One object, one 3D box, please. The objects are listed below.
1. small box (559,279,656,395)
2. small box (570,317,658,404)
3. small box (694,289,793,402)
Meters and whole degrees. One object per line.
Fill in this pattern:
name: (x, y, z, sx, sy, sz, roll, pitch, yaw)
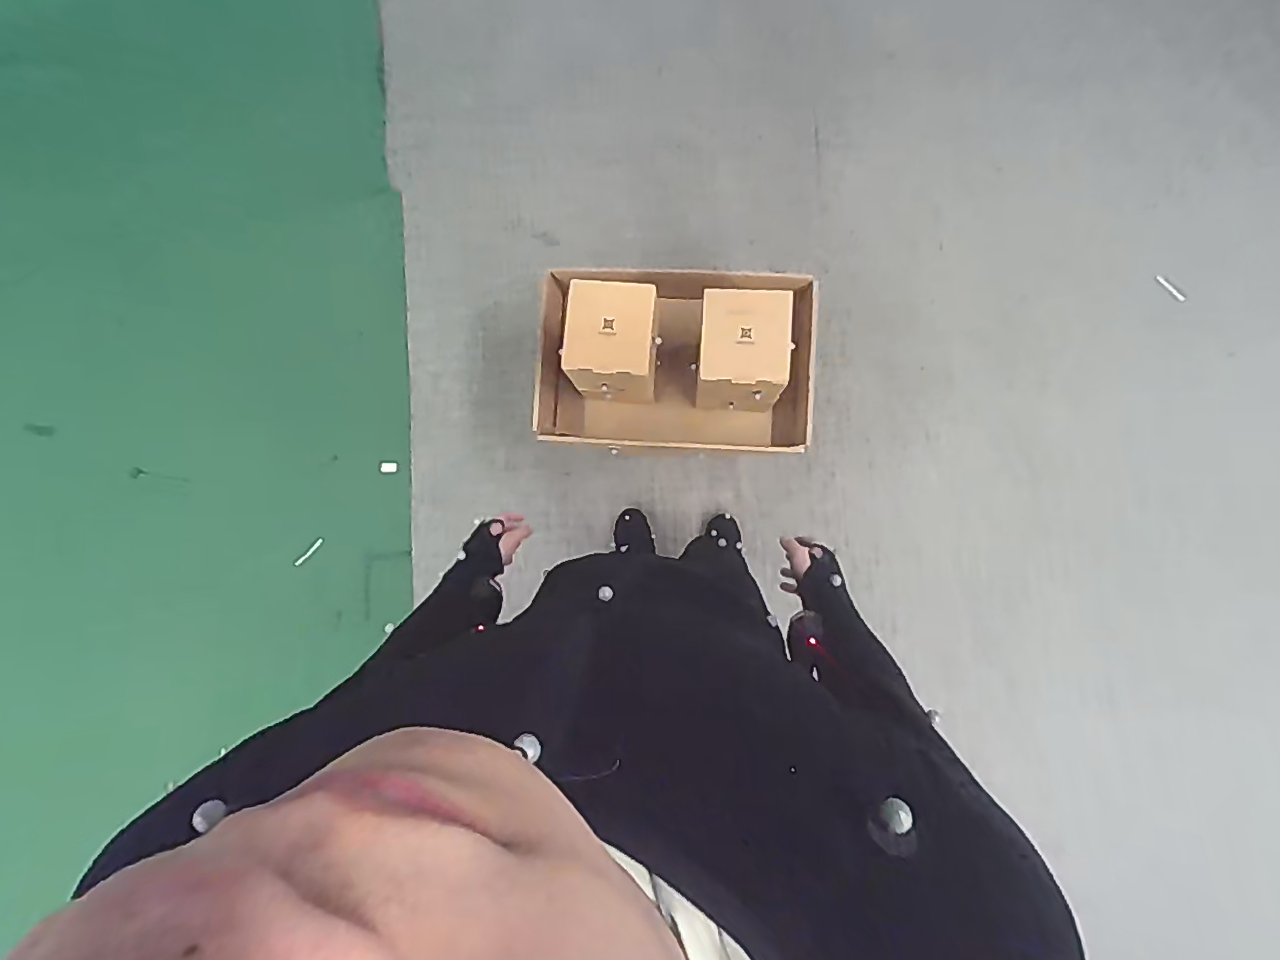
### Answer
small box: (-0.058, -0.280, 1.085, 0.168, 0.176, 0.179, 5, 87, 3)
small box: (-0.053, -0.276, 1.249, 0.179, 0.176, 0.168, 5, 87, 4)
small box: (0.196, -0.255, 1.063, 0.168, 0.176, 0.179, 4, 86, 3)
